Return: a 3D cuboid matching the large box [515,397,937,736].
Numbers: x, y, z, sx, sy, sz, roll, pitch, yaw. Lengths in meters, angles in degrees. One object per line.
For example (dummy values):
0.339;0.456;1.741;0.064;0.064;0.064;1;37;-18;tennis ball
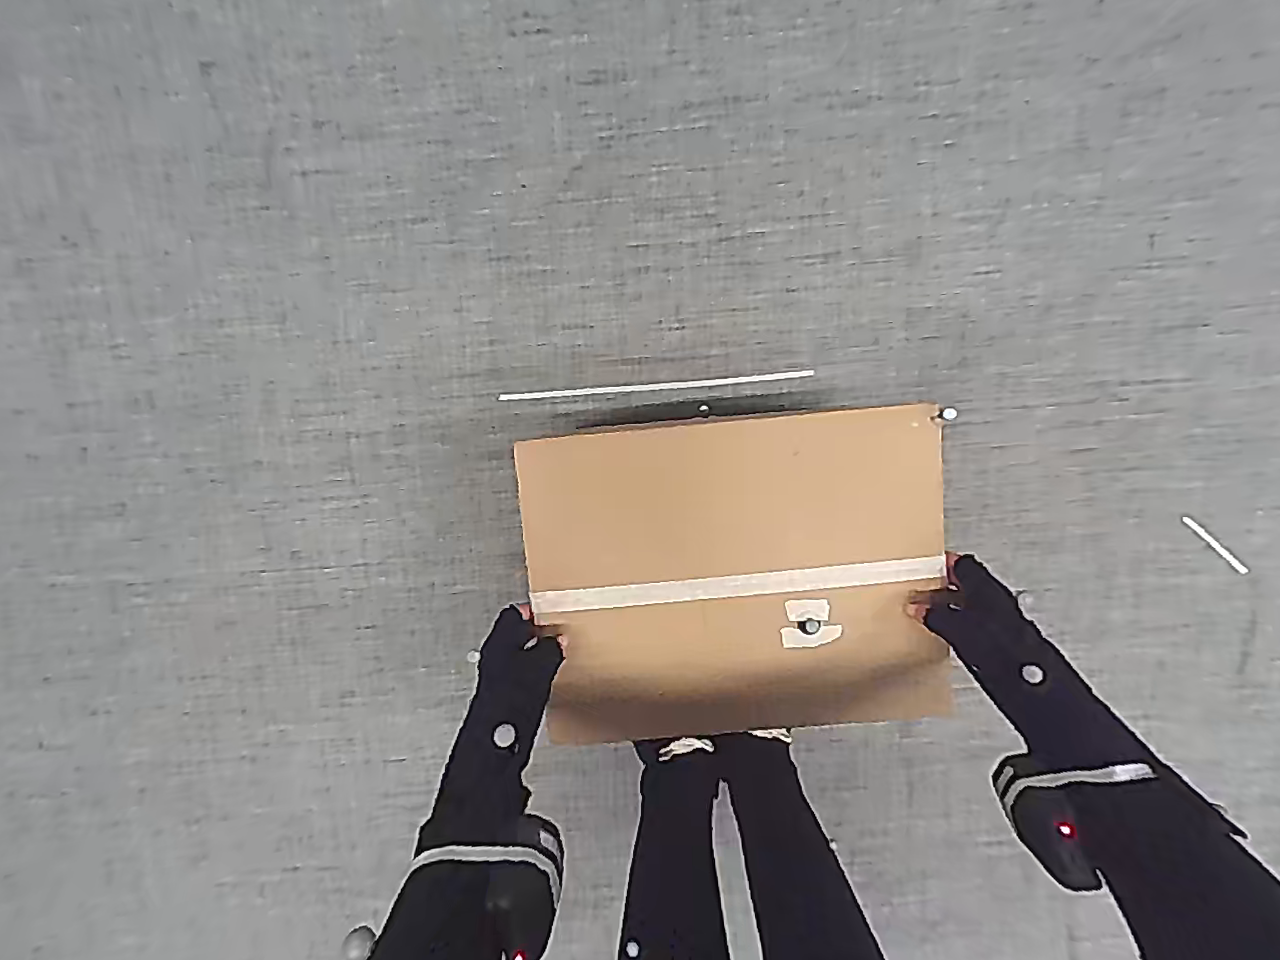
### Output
0.090;0.076;0.685;0.408;0.320;0.320;-6;98;1;large box
